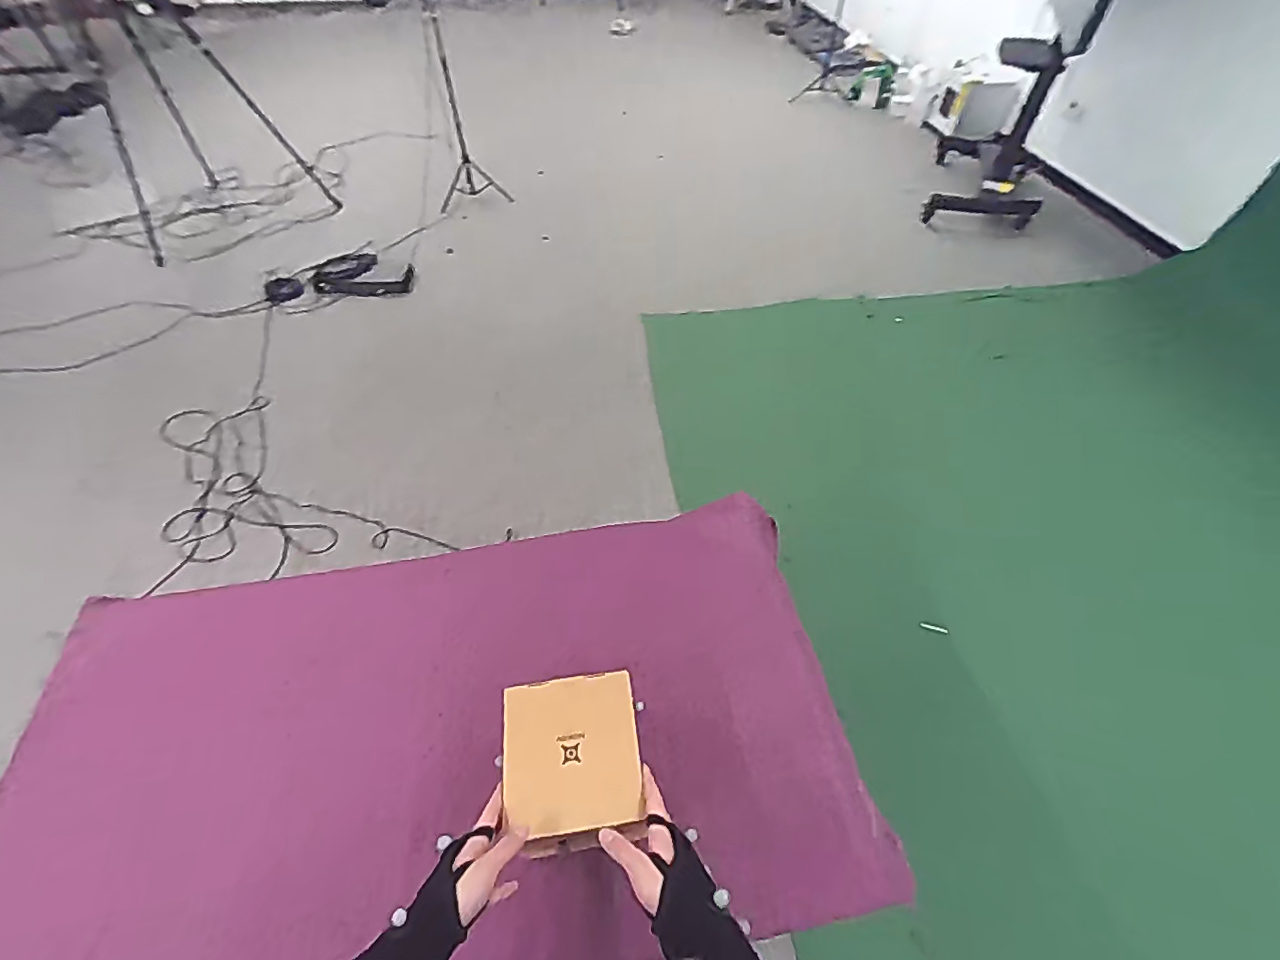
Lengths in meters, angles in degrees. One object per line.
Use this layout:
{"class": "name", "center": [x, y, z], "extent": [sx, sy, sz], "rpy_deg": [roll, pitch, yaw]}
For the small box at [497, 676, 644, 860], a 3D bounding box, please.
{"class": "small box", "center": [-0.087, 0.387, 0.718], "extent": [0.168, 0.176, 0.179], "rpy_deg": [-7, 49, -4]}
